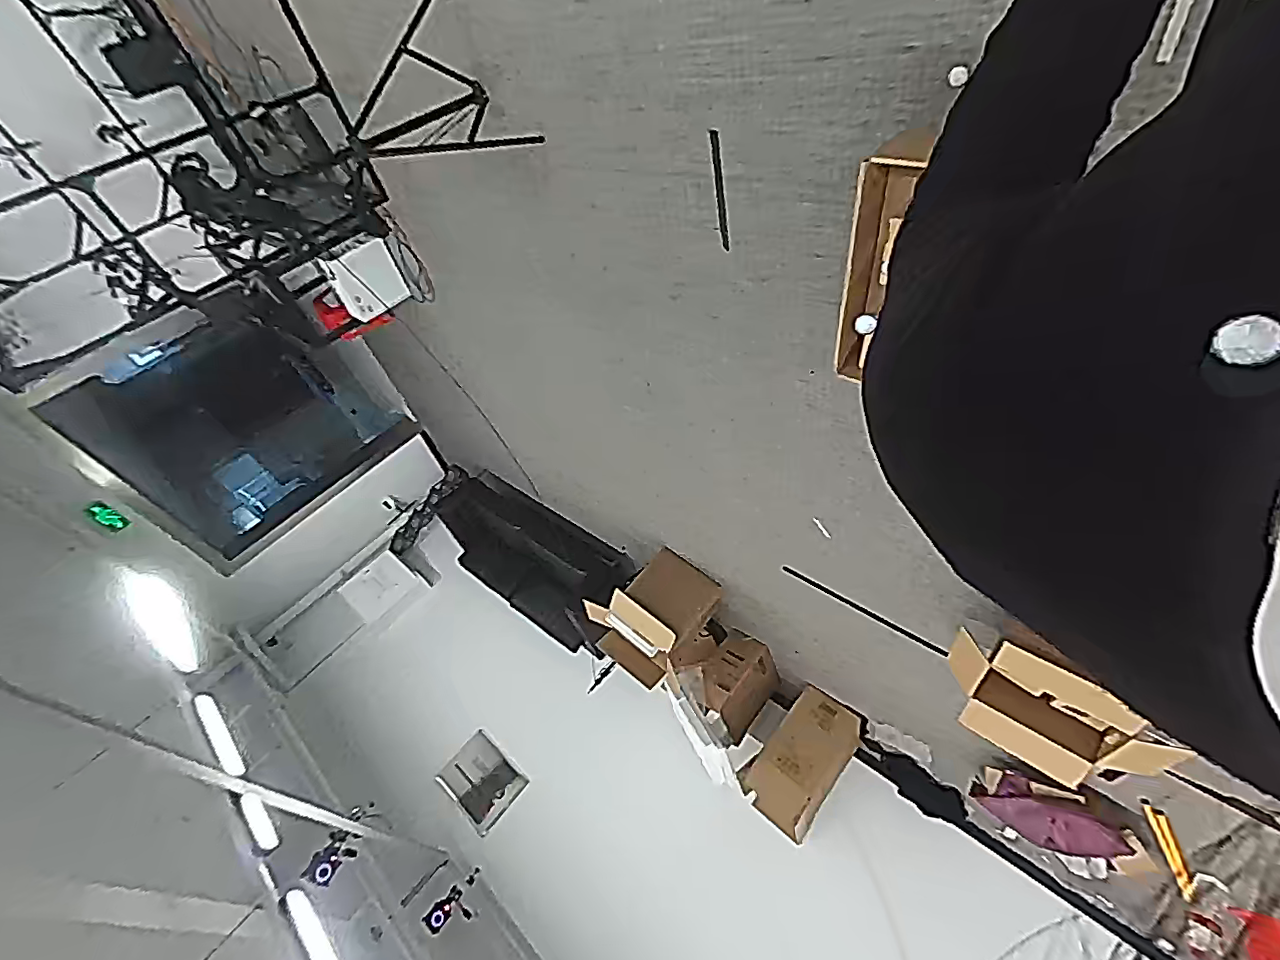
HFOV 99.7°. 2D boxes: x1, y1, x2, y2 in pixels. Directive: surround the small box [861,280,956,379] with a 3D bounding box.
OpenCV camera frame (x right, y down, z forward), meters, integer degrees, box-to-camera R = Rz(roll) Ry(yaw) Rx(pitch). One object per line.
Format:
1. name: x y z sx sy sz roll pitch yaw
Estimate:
1. small box: 0.730 -0.413 1.473 0.168 0.176 0.179 27 148 29
